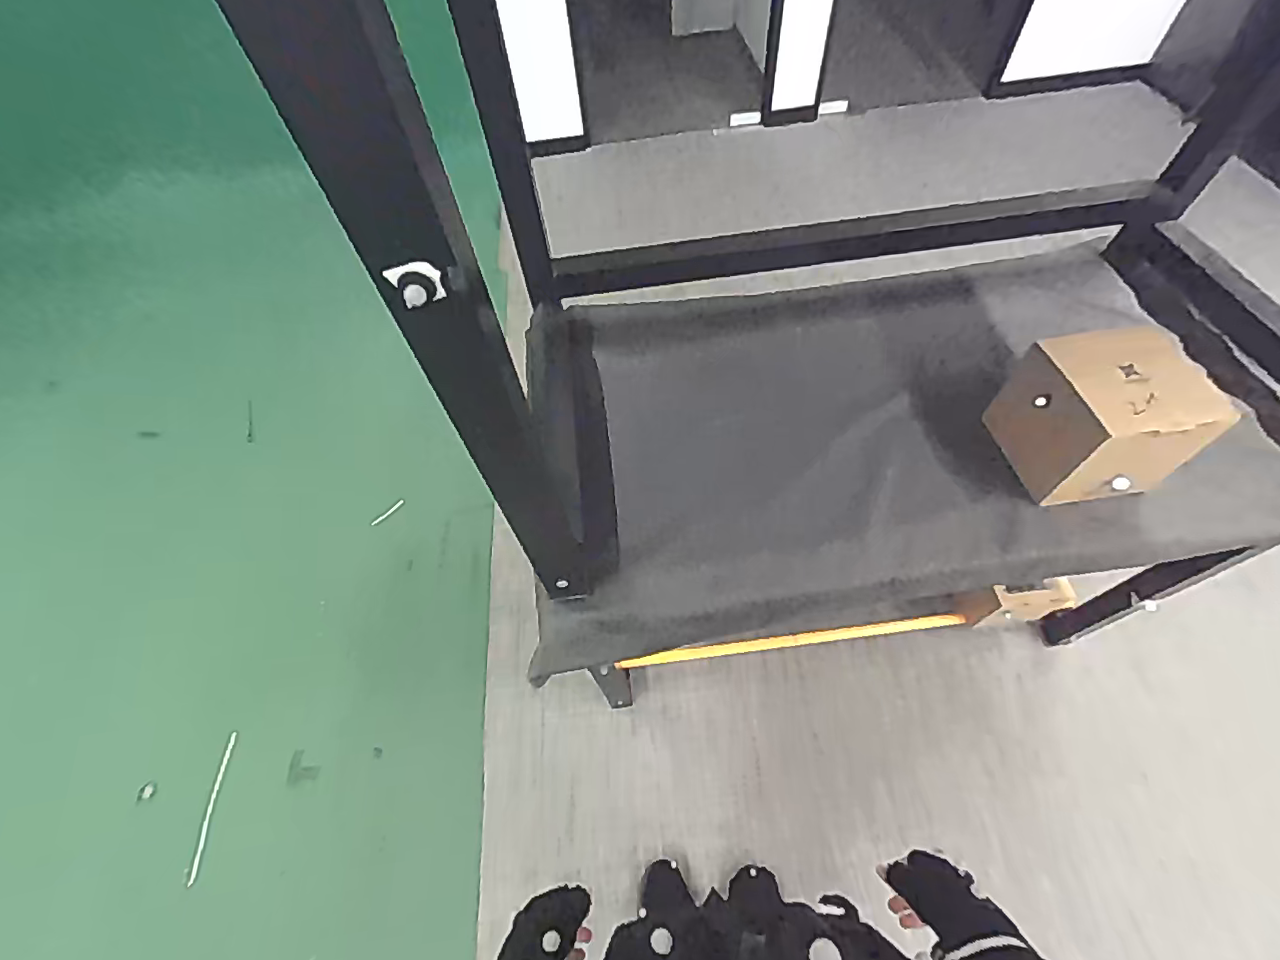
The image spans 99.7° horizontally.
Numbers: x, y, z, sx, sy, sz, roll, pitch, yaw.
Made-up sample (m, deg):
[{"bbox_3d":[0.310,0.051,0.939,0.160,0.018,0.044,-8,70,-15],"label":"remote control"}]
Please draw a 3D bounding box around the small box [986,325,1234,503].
[{"bbox_3d":[0.640,-0.091,0.771,0.168,0.176,0.179,-9,55,0],"label":"small box"}]
